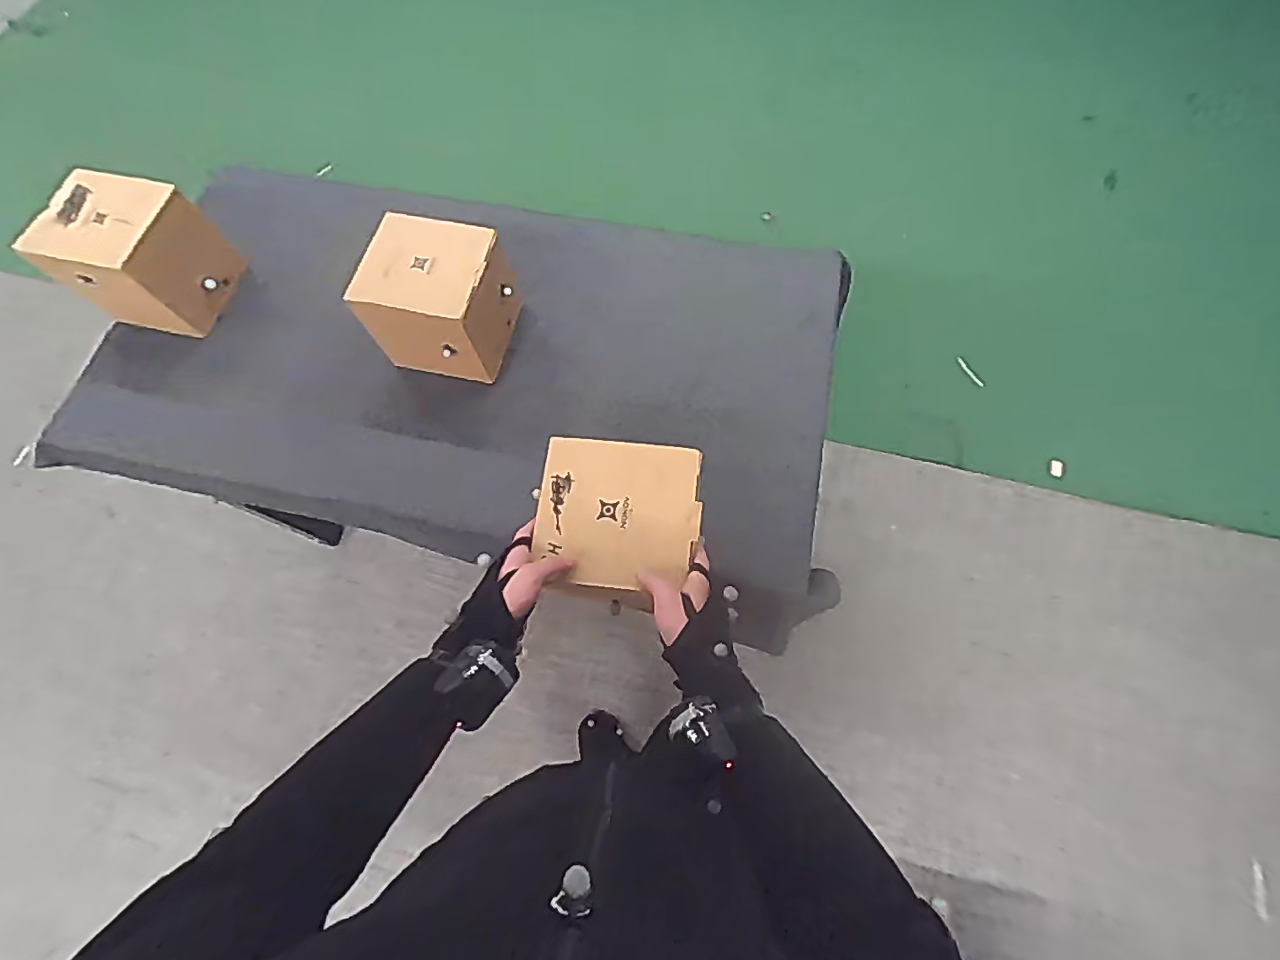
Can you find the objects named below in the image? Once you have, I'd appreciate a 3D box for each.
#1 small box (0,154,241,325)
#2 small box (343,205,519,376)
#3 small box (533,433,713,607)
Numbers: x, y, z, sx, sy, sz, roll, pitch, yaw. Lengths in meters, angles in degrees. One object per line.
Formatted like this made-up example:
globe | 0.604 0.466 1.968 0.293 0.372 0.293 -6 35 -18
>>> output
small box | -0.795 -0.369 0.851 0.179 0.176 0.168 12 71 3
small box | -0.299 -0.278 0.822 0.179 0.176 0.168 11 69 5
small box | -0.015 0.058 0.655 0.179 0.176 0.168 7 72 3
